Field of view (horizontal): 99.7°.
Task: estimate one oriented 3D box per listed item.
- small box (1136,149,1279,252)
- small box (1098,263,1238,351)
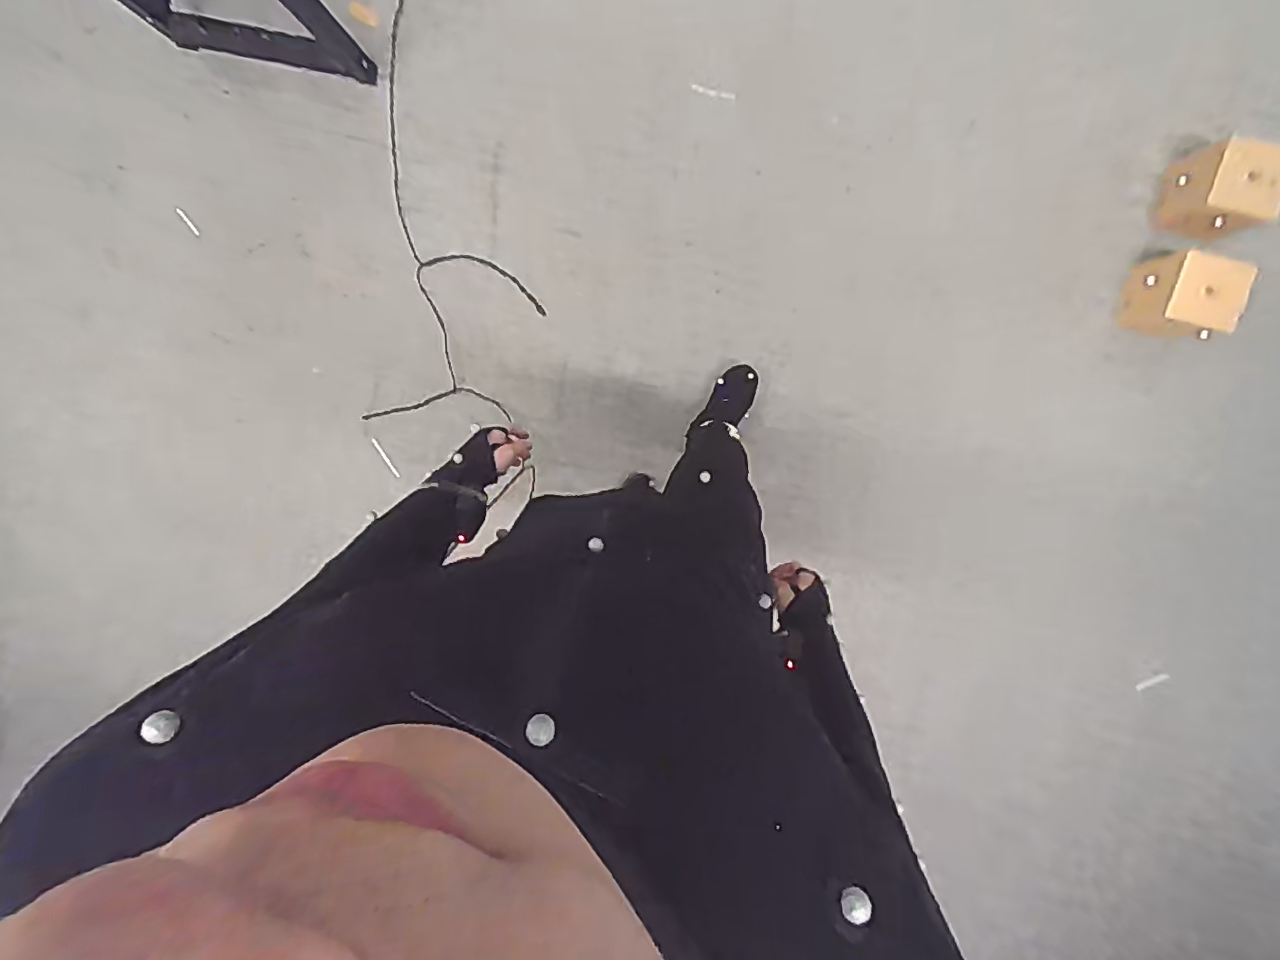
[{"bbox_3d":[1.438,-0.700,1.376,0.179,0.176,0.168,16,99,-1],"label":"small box"},{"bbox_3d":[1.369,-0.444,1.418,0.179,0.176,0.168,16,98,-1],"label":"small box"}]
